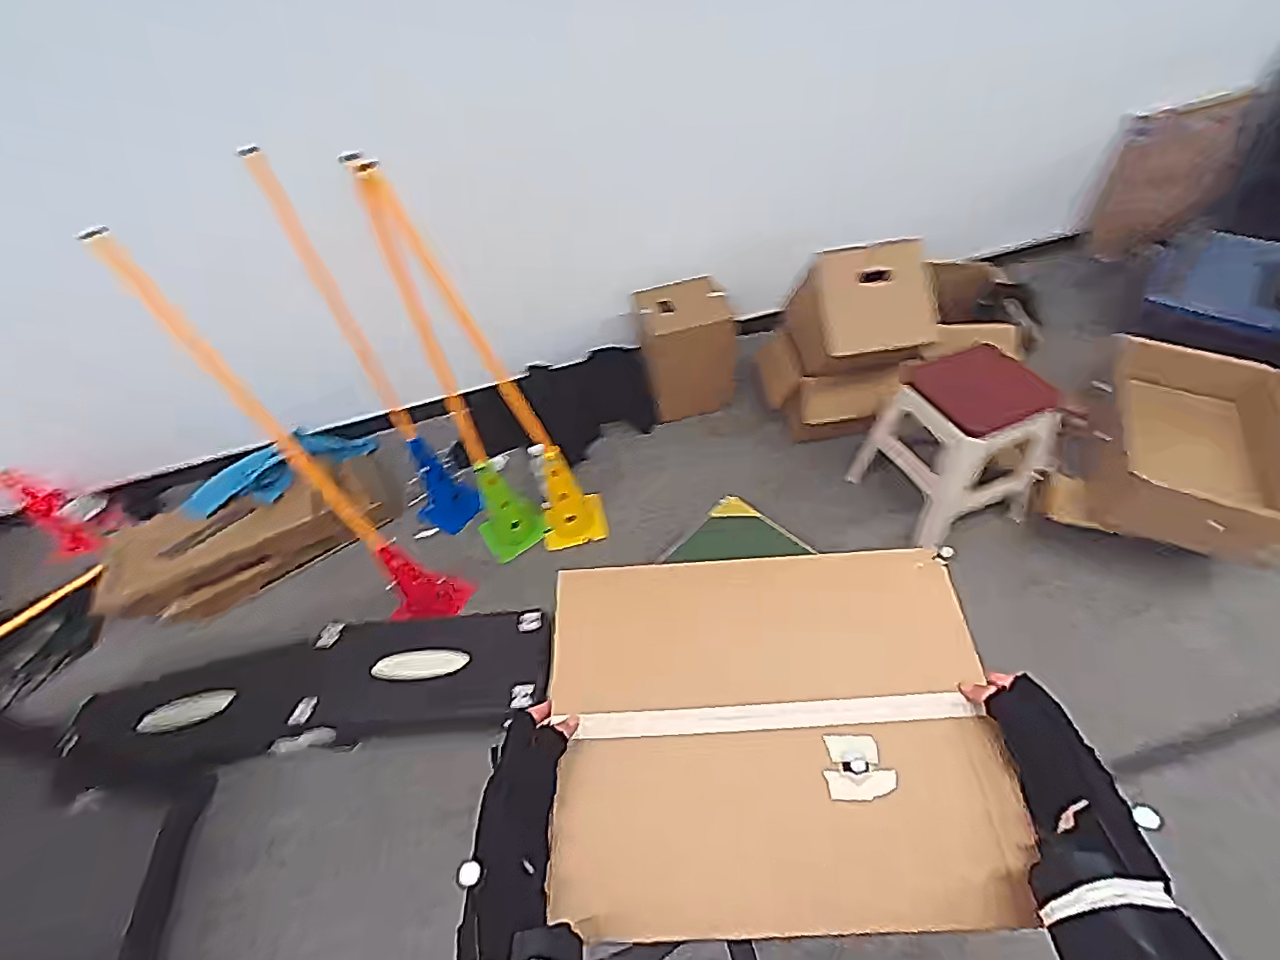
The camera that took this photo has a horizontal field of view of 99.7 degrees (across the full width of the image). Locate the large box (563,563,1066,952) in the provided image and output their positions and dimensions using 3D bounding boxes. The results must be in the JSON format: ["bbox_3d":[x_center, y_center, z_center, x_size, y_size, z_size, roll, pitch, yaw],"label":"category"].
[{"bbox_3d":[0.137,0.311,0.628,0.408,0.320,0.320,-3,58,3],"label":"large box"}]
